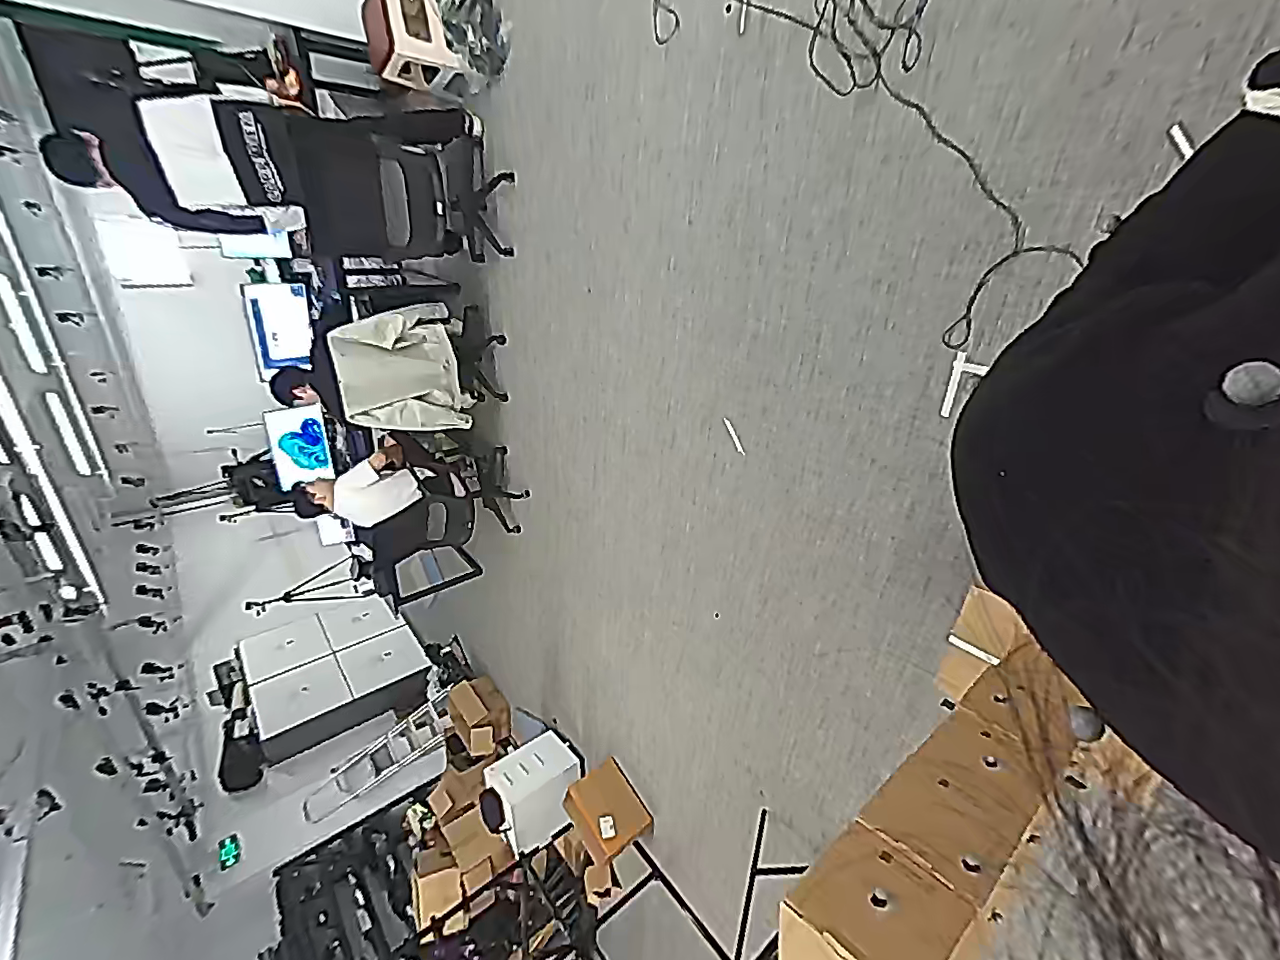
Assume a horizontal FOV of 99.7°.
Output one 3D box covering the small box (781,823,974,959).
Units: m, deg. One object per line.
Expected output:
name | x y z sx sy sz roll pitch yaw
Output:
small box | 0.302 0.596 0.694 0.168 0.176 0.179 18 116 49

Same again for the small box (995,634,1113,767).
small box | 0.805 0.446 1.084 0.168 0.176 0.179 28 124 43

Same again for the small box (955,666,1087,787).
small box | 0.678 0.478 0.988 0.168 0.176 0.179 27 125 45

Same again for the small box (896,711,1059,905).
small box | 0.554 0.522 0.889 0.168 0.176 0.179 23 121 48
